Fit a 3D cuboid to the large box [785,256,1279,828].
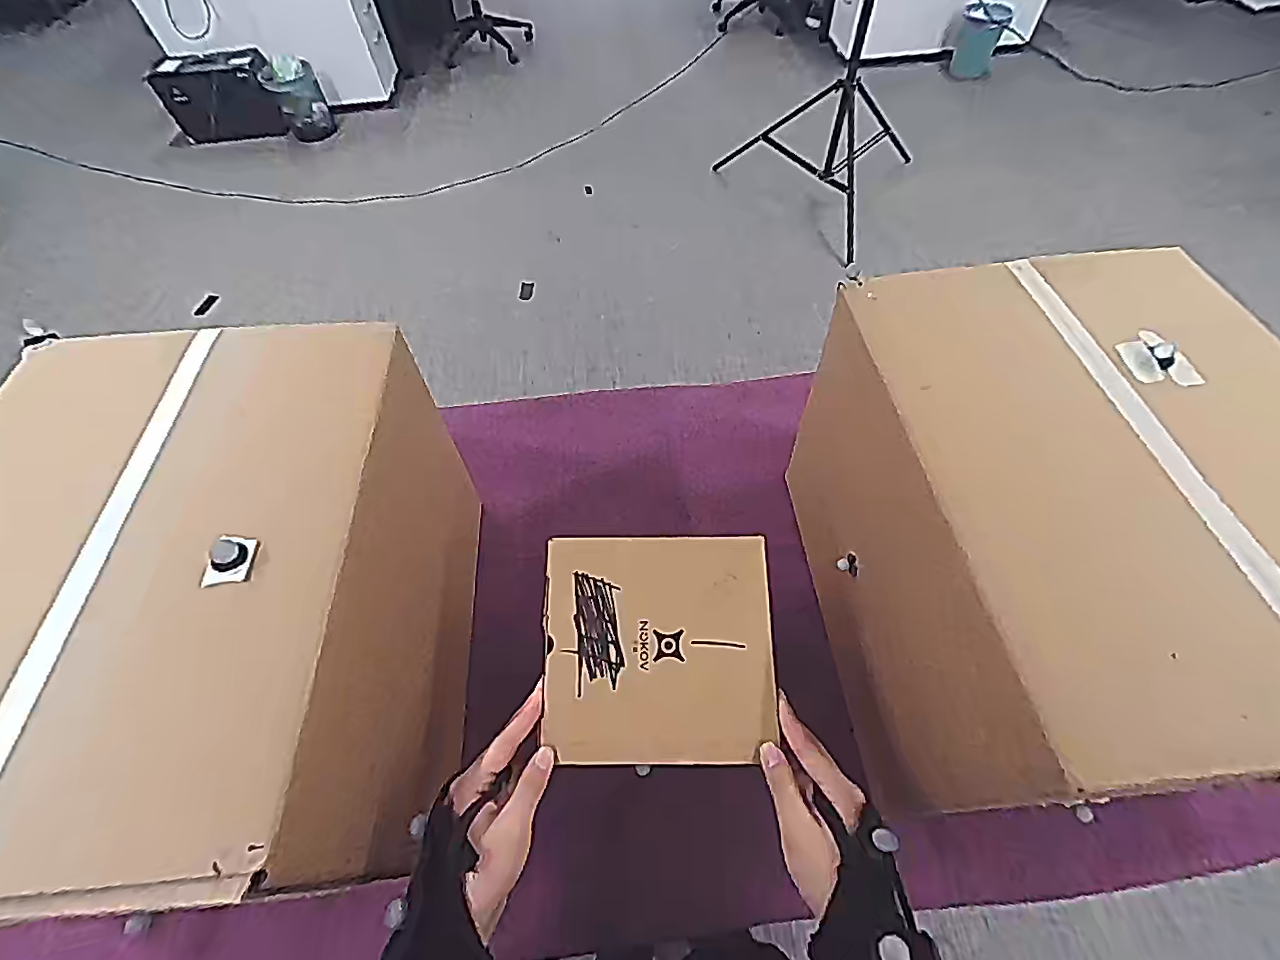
[{"bbox_3d":[0.352,0.060,0.496,0.320,0.320,0.408,-6,55,-1],"label":"large box"}]
